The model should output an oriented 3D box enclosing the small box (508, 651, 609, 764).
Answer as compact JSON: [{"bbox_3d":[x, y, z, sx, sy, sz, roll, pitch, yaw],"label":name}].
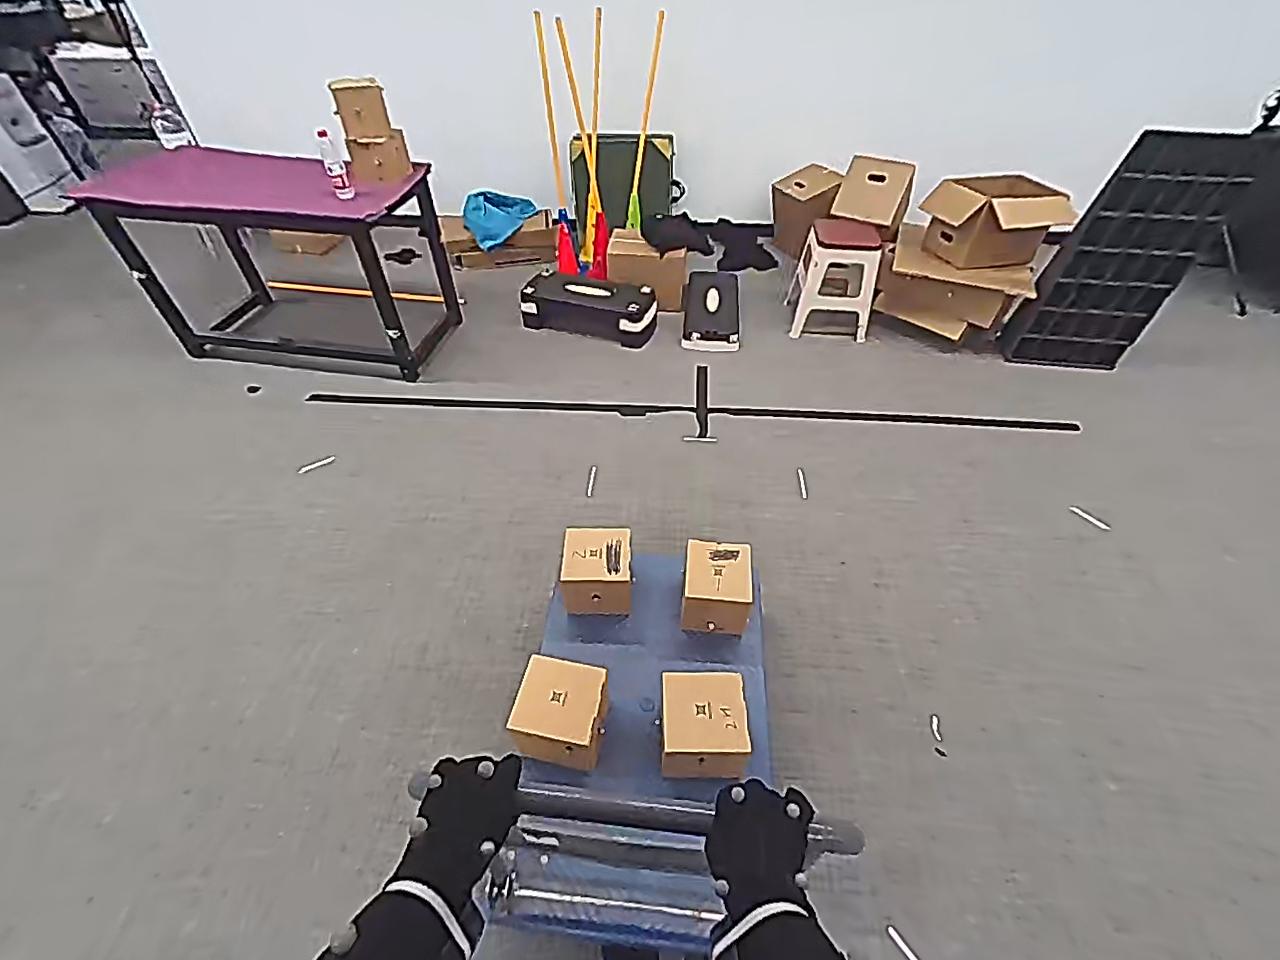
[{"bbox_3d":[-0.174,0.511,1.208,0.179,0.176,0.168,10,47,7],"label":"small box"}]

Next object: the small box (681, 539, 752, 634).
[{"bbox_3d":[0.199,0.281,1.429,0.168,0.176,0.179,5,48,4],"label":"small box"}]

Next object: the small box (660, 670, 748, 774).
[{"bbox_3d":[0.132,0.533,1.188,0.179,0.176,0.168,1,47,1],"label":"small box"}]
